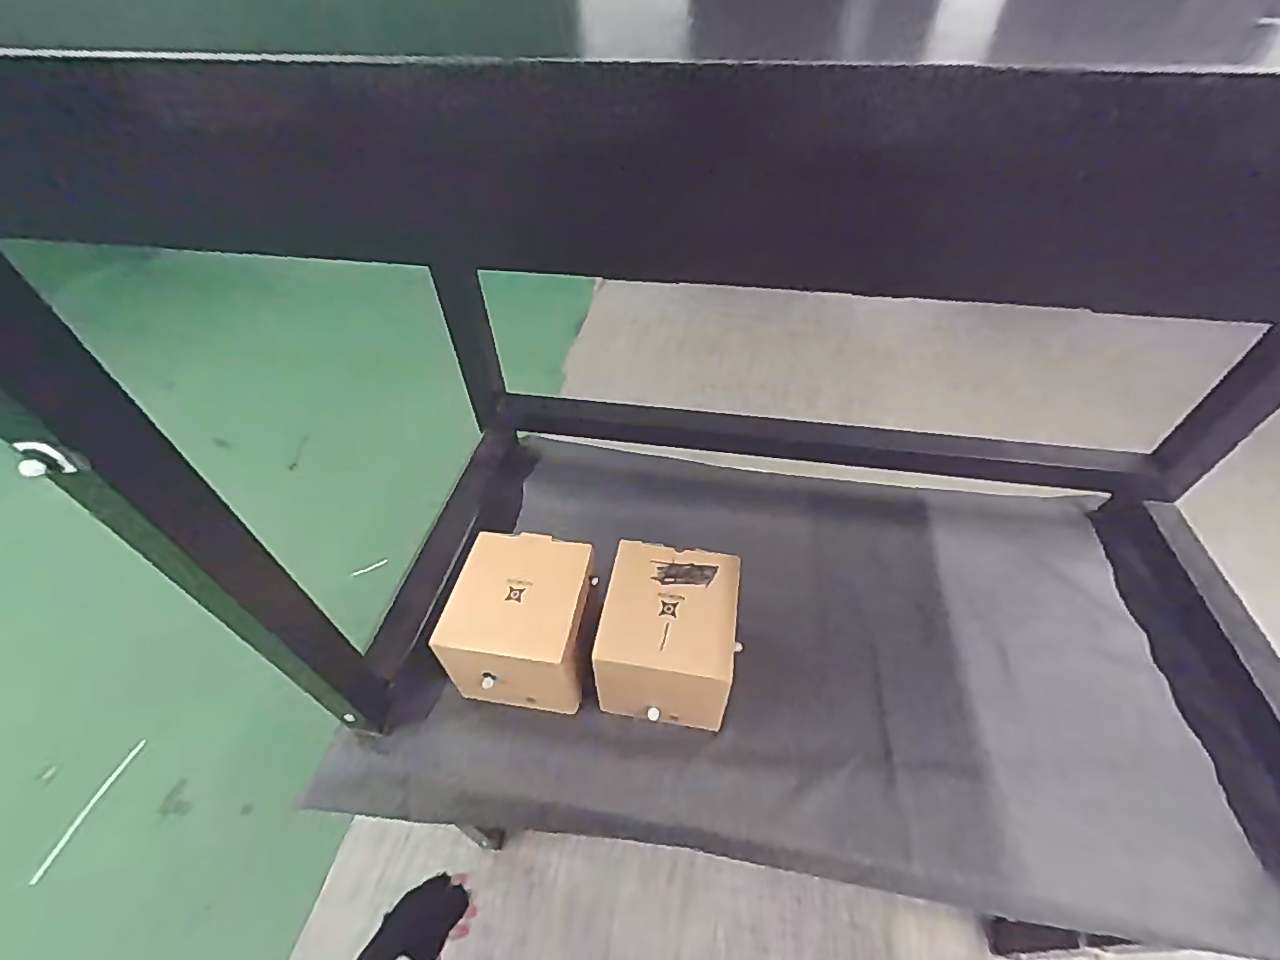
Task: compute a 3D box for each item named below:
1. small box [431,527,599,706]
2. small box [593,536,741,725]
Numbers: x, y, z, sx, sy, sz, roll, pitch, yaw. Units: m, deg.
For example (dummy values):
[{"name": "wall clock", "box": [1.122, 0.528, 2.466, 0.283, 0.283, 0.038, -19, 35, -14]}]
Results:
[{"name": "small box", "box": [-0.155, 0.191, 0.748, 0.168, 0.176, 0.179, 6, 47, 7]}, {"name": "small box", "box": [0.040, 0.203, 0.731, 0.168, 0.176, 0.179, 6, 48, 8]}]
